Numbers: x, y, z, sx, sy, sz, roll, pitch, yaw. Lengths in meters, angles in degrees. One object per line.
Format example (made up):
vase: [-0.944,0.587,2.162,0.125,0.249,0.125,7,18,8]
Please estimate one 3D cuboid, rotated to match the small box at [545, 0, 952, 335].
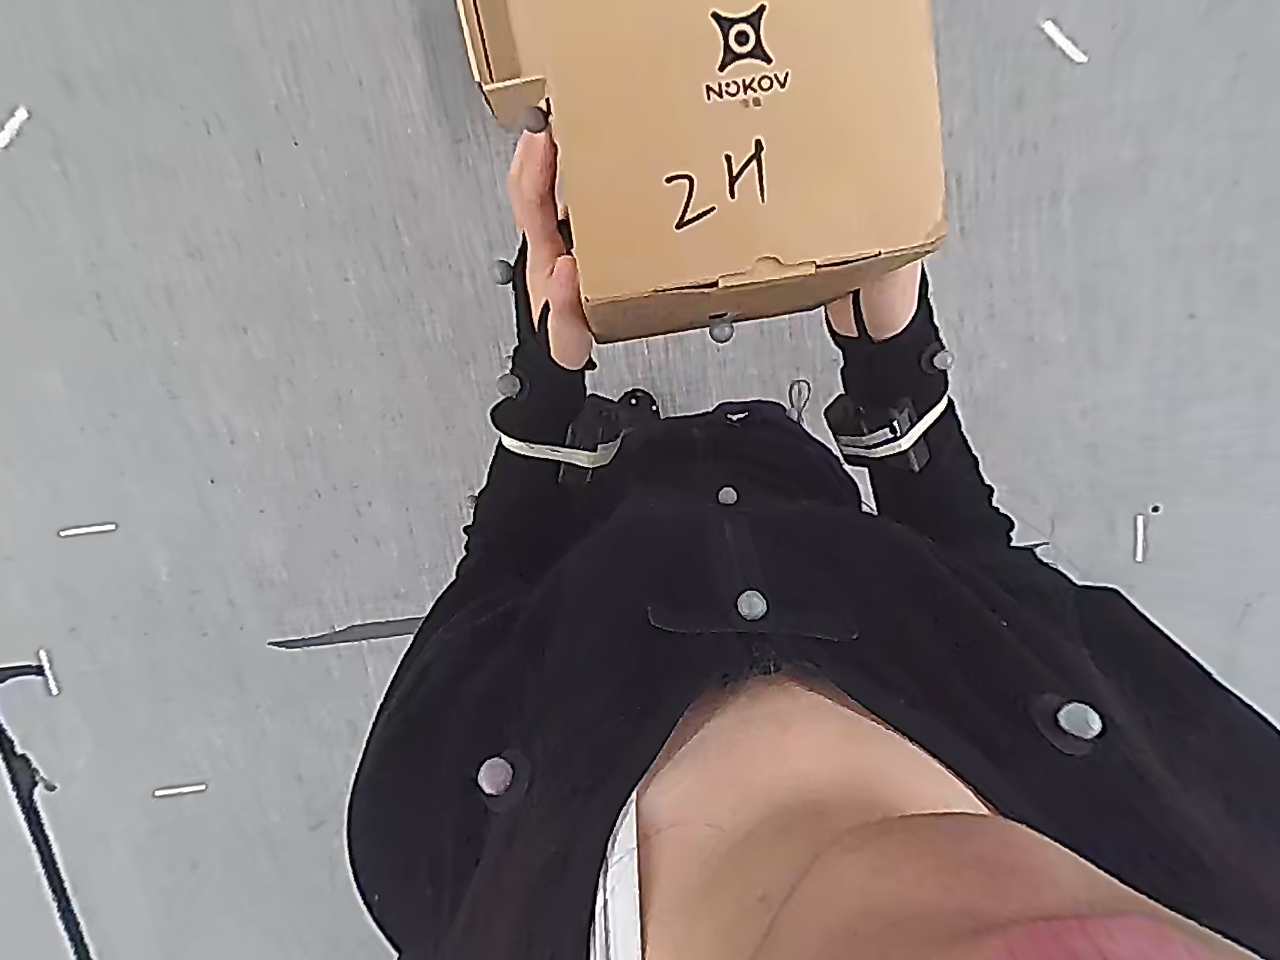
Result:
small box: [0.041,-0.191,0.305,0.168,0.176,0.179,-9,99,-1]
